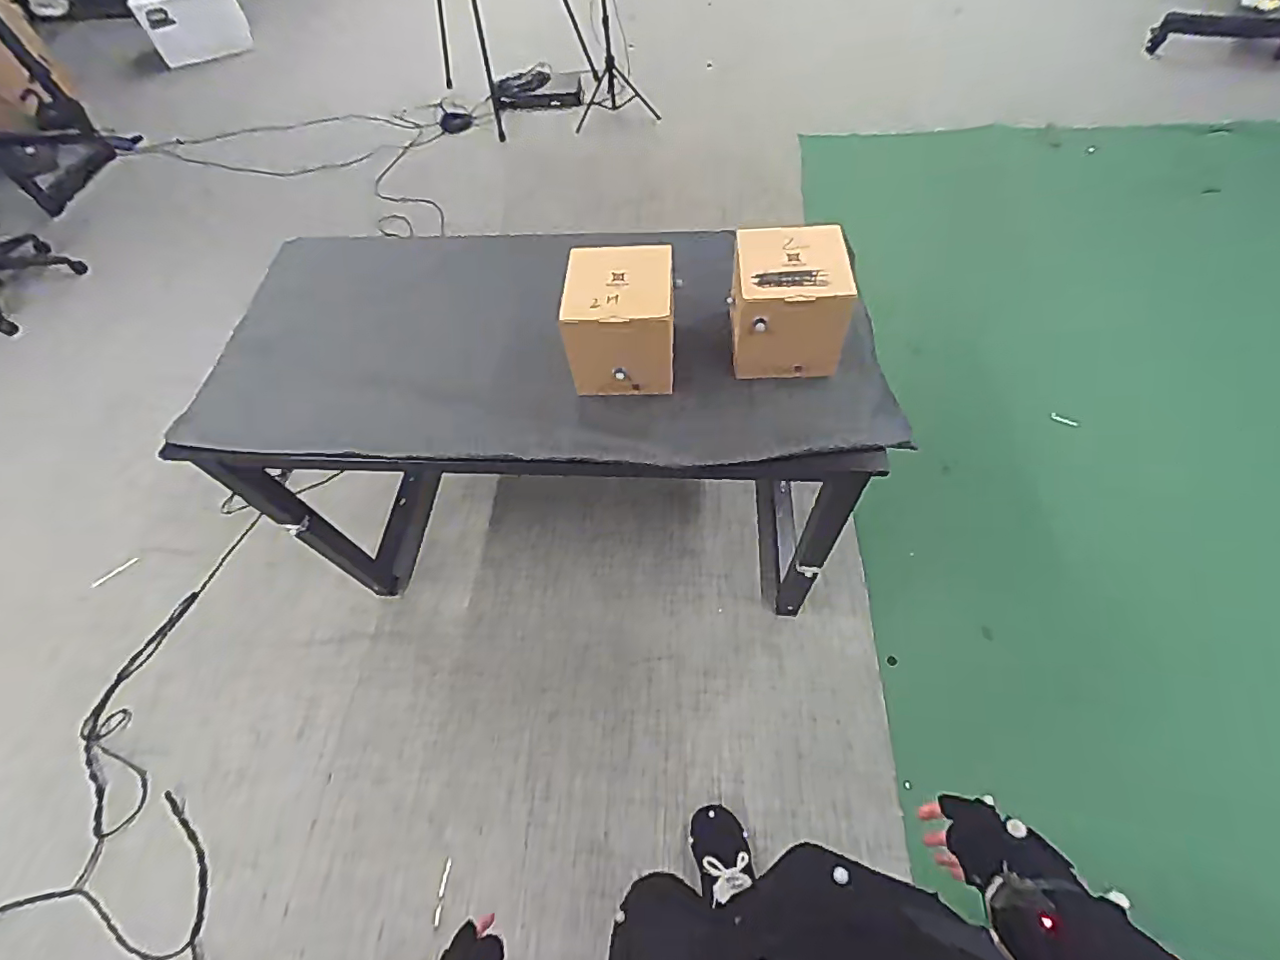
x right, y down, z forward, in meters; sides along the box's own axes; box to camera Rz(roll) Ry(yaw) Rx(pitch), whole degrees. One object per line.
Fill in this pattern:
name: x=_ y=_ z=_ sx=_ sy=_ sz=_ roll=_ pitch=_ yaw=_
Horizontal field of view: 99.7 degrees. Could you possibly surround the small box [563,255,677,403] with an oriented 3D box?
small box: x=-0.023 y=-0.249 z=0.902 sx=0.168 sy=0.176 sz=0.179 roll=0 pitch=57 yaw=5
